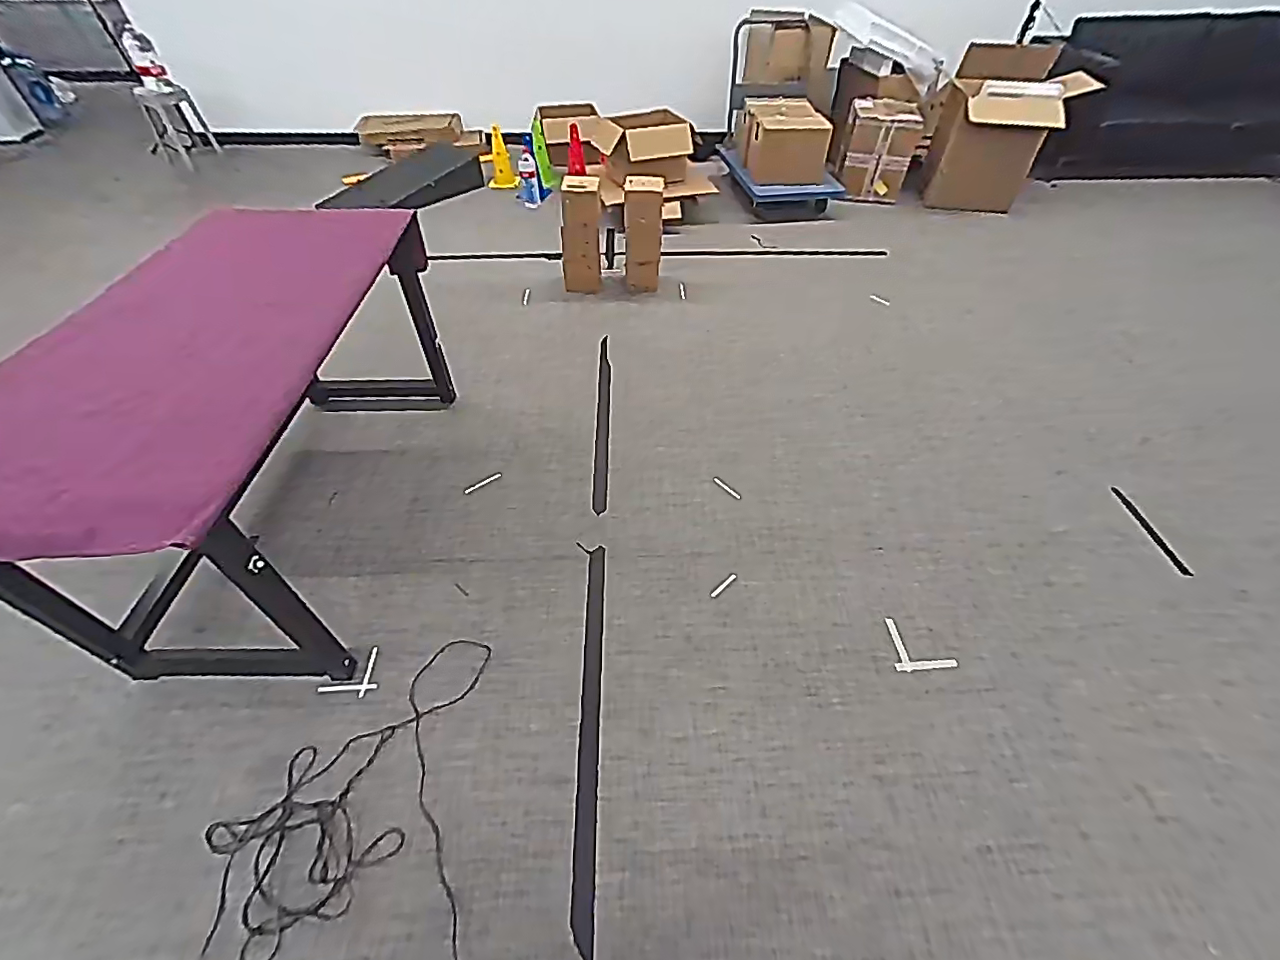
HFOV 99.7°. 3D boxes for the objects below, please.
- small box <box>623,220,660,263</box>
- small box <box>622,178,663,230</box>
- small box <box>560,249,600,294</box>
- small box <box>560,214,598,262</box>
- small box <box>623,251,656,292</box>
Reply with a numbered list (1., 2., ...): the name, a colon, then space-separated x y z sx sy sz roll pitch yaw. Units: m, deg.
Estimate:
1. small box: 0.008 -1.183 2.659 0.179 0.176 0.168 1 49 -2
2. small box: 0.011 -1.290 2.534 0.179 0.176 0.168 4 48 0
3. small box: -0.304 -1.072 2.774 0.179 0.176 0.168 4 48 2
4. small box: -0.297 -1.186 2.659 0.168 0.176 0.179 4 47 -1
5. small box: -0.001 -1.087 2.793 0.168 0.176 0.179 -1 48 -3
